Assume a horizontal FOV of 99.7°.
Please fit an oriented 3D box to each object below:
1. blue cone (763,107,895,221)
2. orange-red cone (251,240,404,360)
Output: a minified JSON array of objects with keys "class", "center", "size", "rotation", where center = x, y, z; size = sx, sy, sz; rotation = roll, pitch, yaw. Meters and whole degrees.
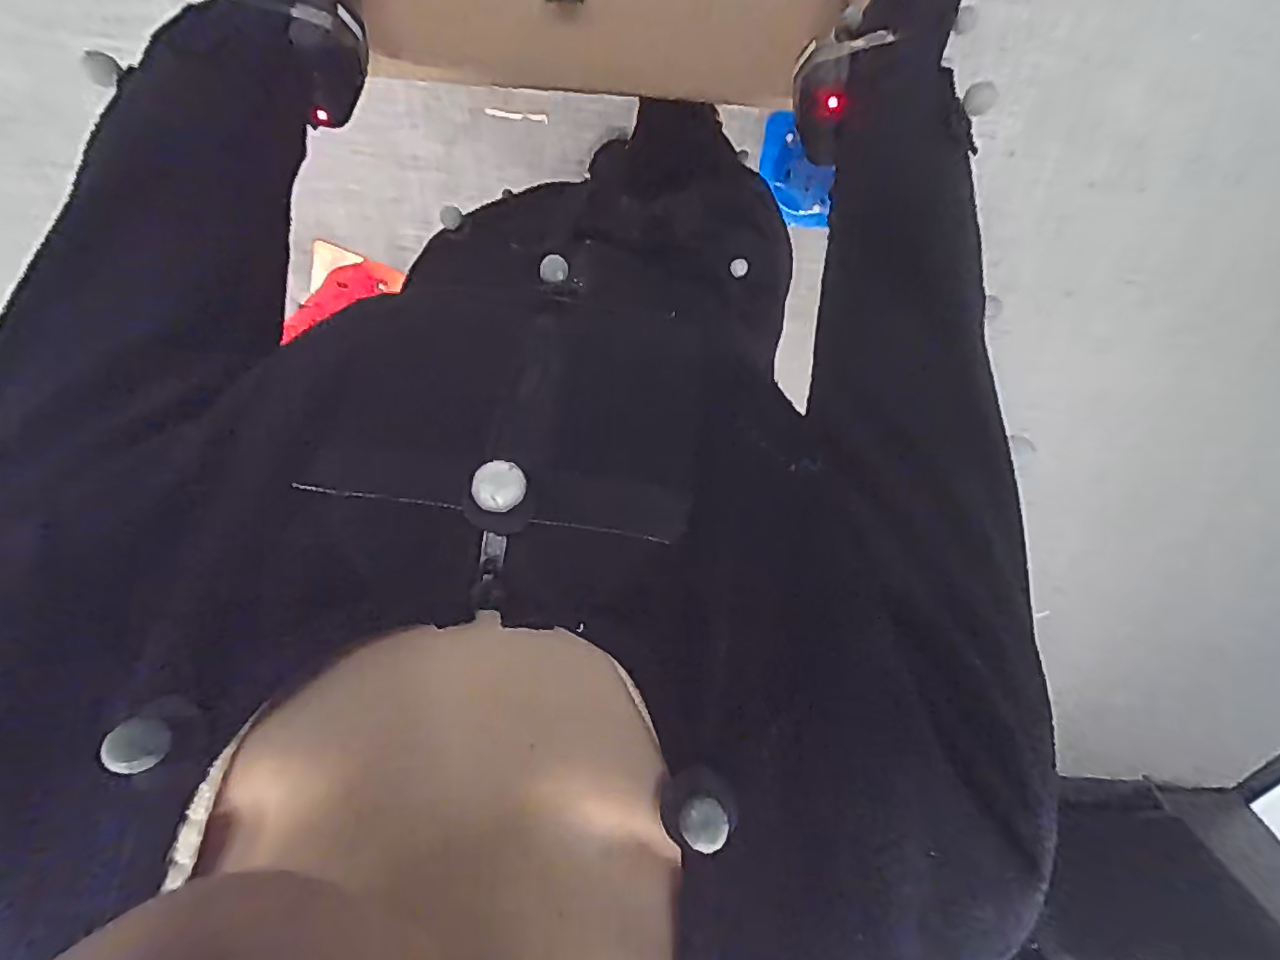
[{"class":"blue cone","center":[0.344,-0.528,0.935],"size":[0.192,0.380,0.193],"rotation":[5,125,-2]},{"class":"orange-red cone","center":[-0.652,-0.320,1.080],"size":[0.199,0.360,0.198],"rotation":[22,121,-12]}]
